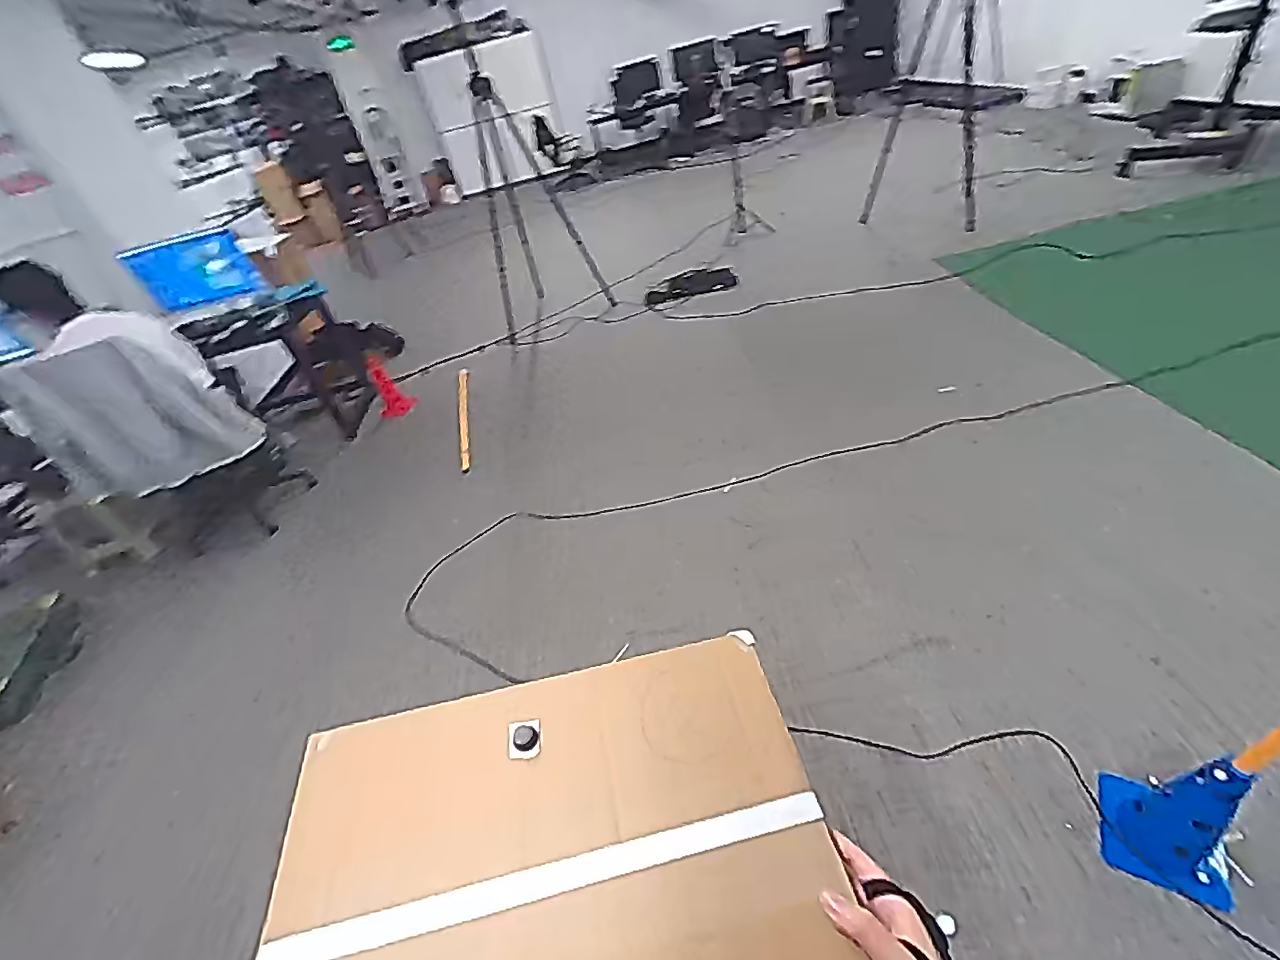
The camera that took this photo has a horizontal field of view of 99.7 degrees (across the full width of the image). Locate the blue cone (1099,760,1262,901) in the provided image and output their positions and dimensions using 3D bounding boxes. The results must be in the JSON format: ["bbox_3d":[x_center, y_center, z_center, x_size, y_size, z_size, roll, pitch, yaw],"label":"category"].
[{"bbox_3d":[1.040,0.609,1.012,0.193,0.380,0.192,10,46,27],"label":"blue cone"}]
